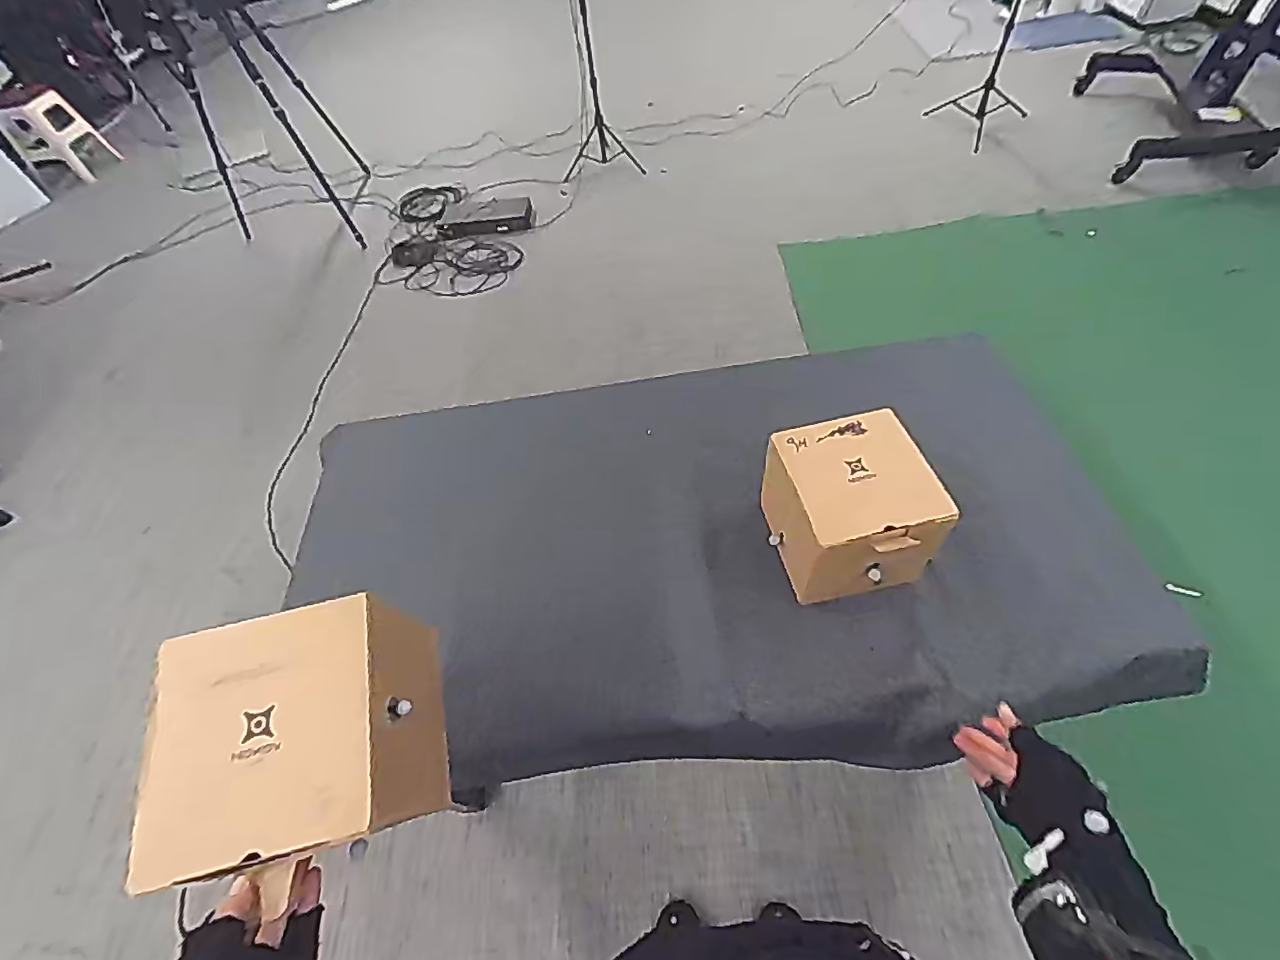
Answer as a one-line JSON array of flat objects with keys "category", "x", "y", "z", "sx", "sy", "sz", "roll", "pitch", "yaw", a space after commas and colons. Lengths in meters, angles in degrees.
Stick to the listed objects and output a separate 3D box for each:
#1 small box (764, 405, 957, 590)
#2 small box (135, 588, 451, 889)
[{"category": "small box", "x": 0.274, "y": 0.032, "z": 0.720, "sx": 0.168, "sy": 0.176, "sz": 0.179, "roll": -11, "pitch": 55, "yaw": -2}, {"category": "small box", "x": -0.277, "y": 0.215, "z": 0.475, "sx": 0.168, "sy": 0.176, "sz": 0.179, "roll": -13, "pitch": 65, "yaw": -5}]
